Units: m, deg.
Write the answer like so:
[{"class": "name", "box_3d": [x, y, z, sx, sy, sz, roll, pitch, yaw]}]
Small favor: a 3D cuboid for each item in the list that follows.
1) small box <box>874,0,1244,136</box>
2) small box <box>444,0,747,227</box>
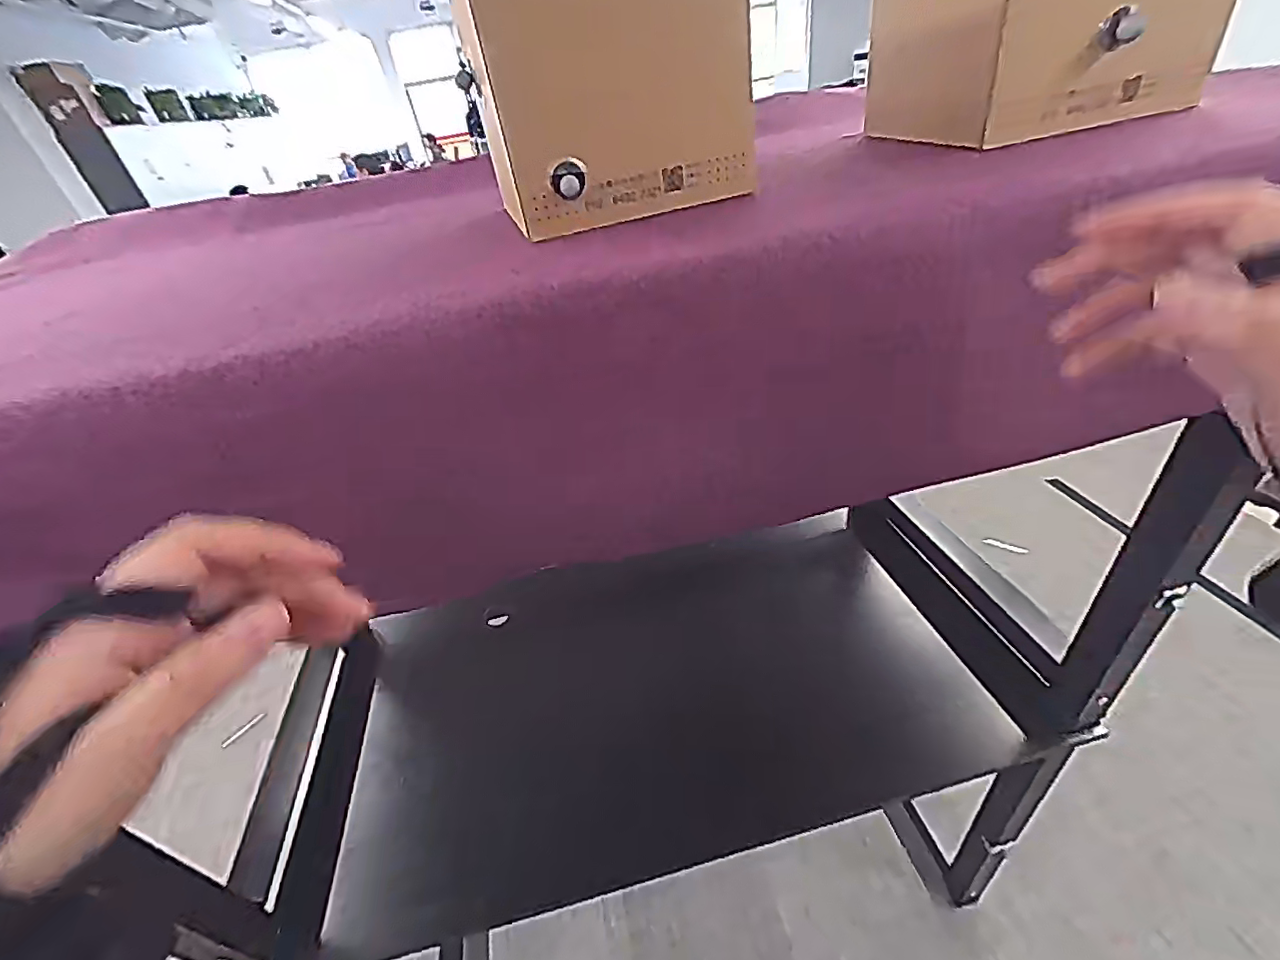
[{"class": "small box", "box_3d": [0.290, -0.361, 0.391, 0.168, 0.176, 0.179, -13, 36, -1]}, {"class": "small box", "box_3d": [-0.034, -0.288, 0.378, 0.168, 0.176, 0.179, -17, 36, -9]}]
